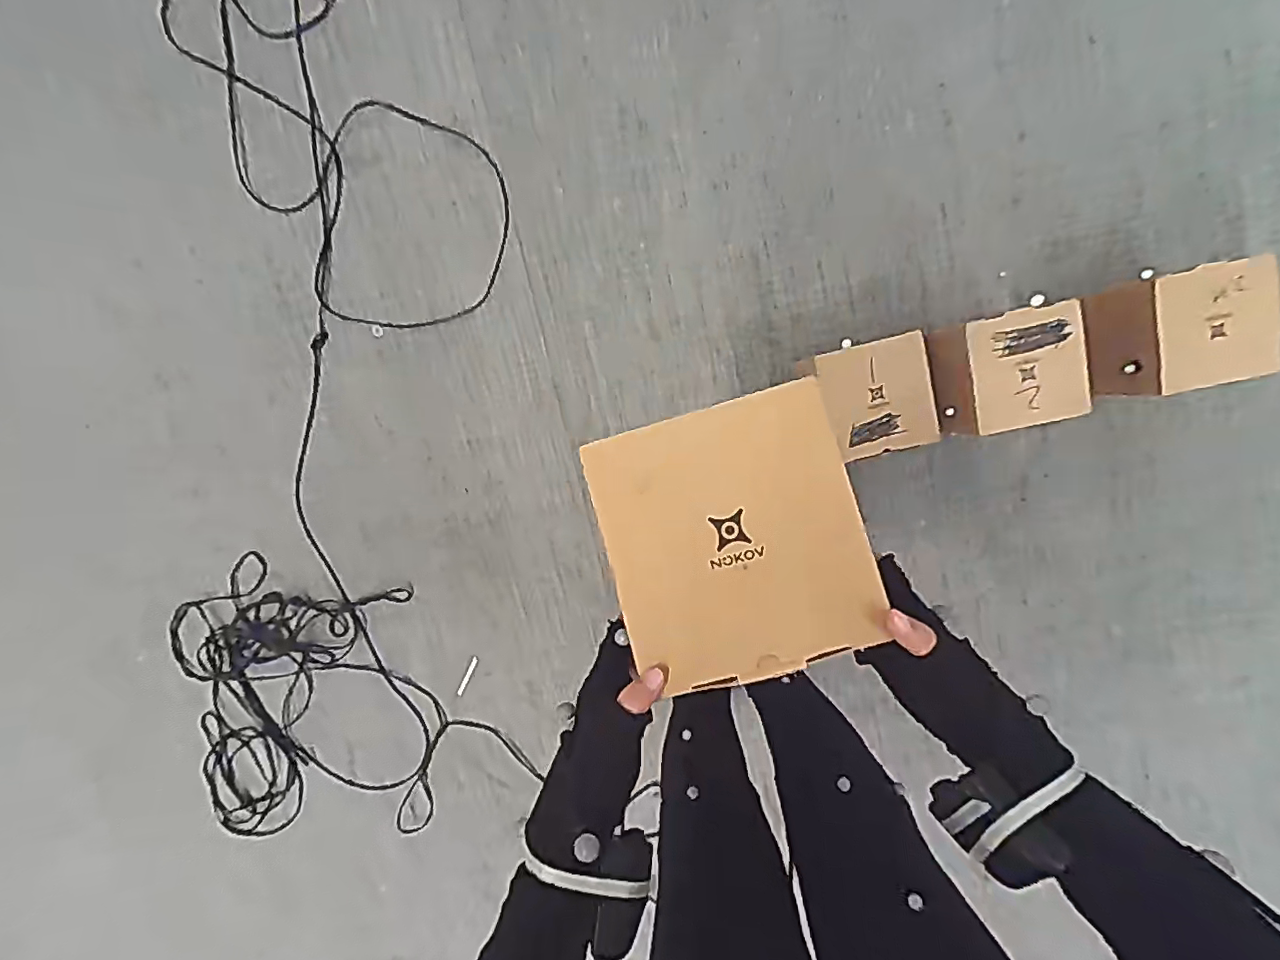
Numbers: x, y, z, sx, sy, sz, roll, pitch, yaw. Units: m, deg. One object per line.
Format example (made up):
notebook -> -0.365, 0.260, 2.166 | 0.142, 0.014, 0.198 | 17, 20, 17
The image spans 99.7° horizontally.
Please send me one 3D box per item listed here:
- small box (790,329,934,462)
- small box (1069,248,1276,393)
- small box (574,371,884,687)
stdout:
small box -> 0.361, -0.139, 0.906 | 0.168, 0.176, 0.179 | -13, 96, 7
small box -> 0.829, -0.241, 0.858 | 0.168, 0.176, 0.179 | -12, 97, 5
small box -> 0.061, 0.038, 0.432 | 0.168, 0.176, 0.179 | -17, 84, 5
